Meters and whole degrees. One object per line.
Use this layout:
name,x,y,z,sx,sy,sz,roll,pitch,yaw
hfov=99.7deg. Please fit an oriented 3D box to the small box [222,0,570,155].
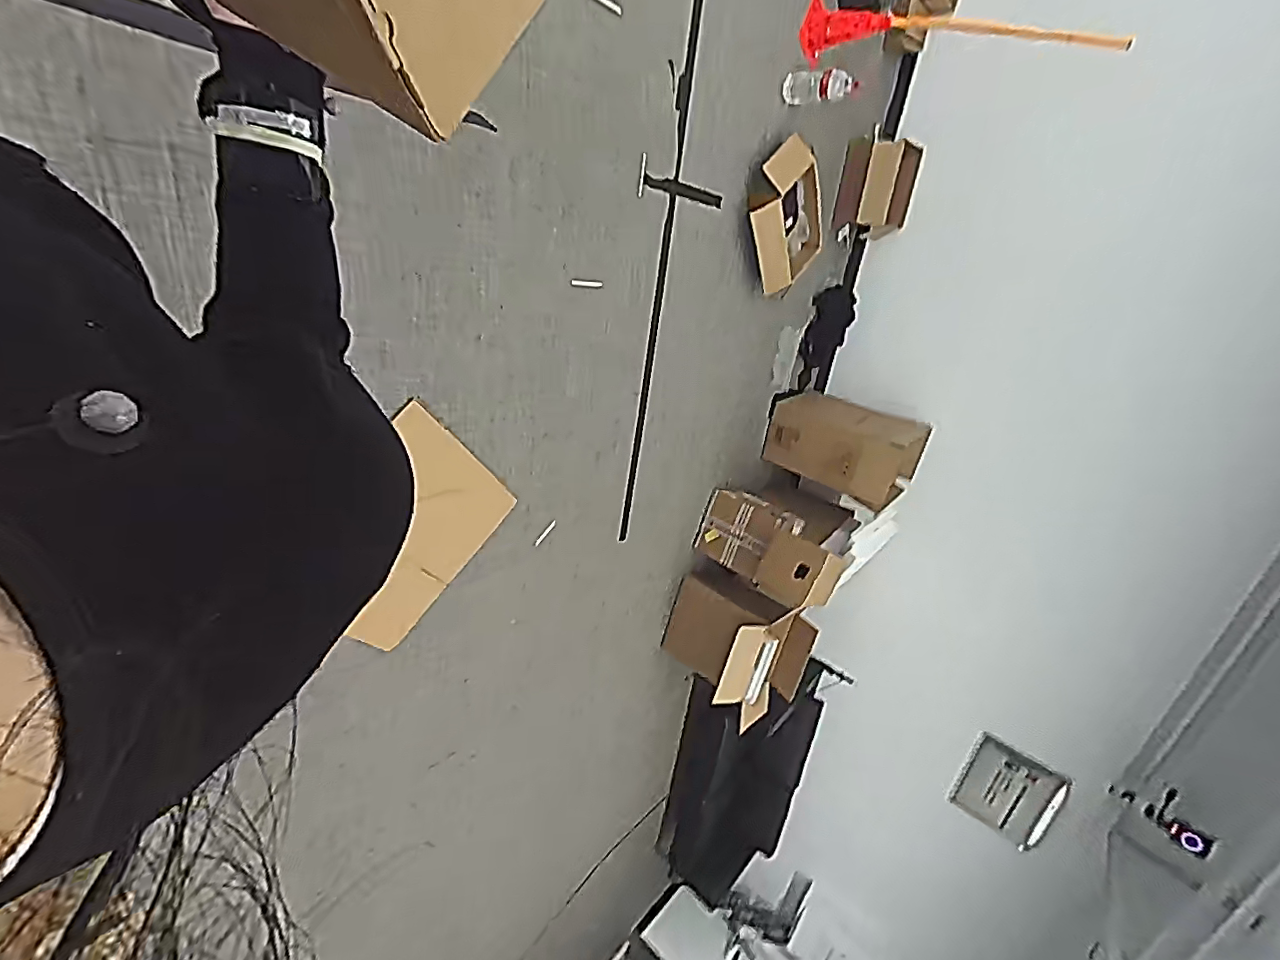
small box,-0.137,-0.325,0.269,0.179,0.176,0.168,-57,180,-4

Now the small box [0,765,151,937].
small box,-1.055,0.670,1.002,0.168,0.176,0.179,-21,128,-44
